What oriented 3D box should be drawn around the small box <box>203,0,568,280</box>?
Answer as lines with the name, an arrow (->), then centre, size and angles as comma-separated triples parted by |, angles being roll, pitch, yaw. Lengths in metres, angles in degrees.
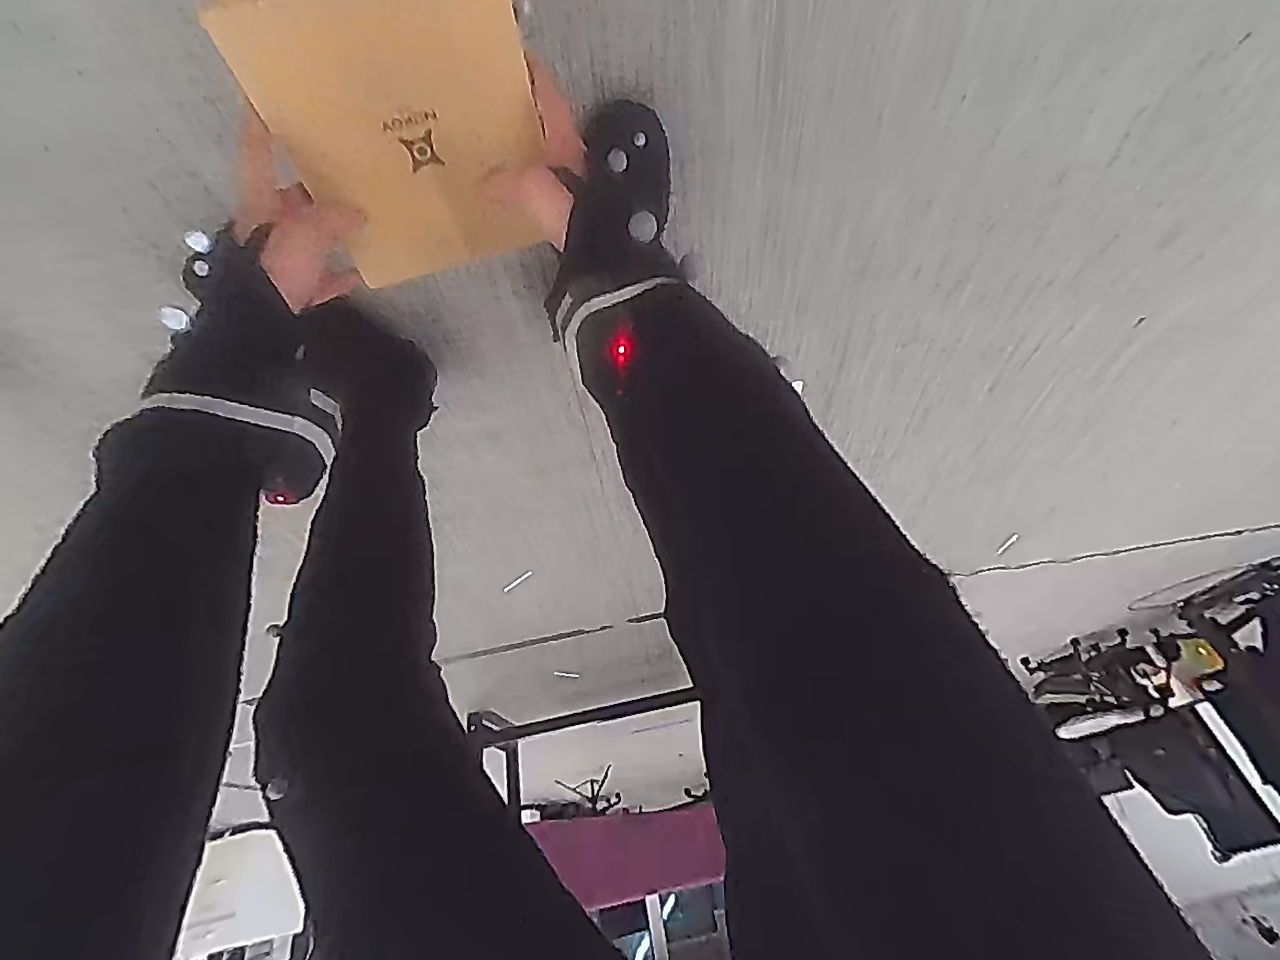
small box -> -0.162, -0.288, 0.405 | 0.168, 0.176, 0.179 | -16, 143, -1
